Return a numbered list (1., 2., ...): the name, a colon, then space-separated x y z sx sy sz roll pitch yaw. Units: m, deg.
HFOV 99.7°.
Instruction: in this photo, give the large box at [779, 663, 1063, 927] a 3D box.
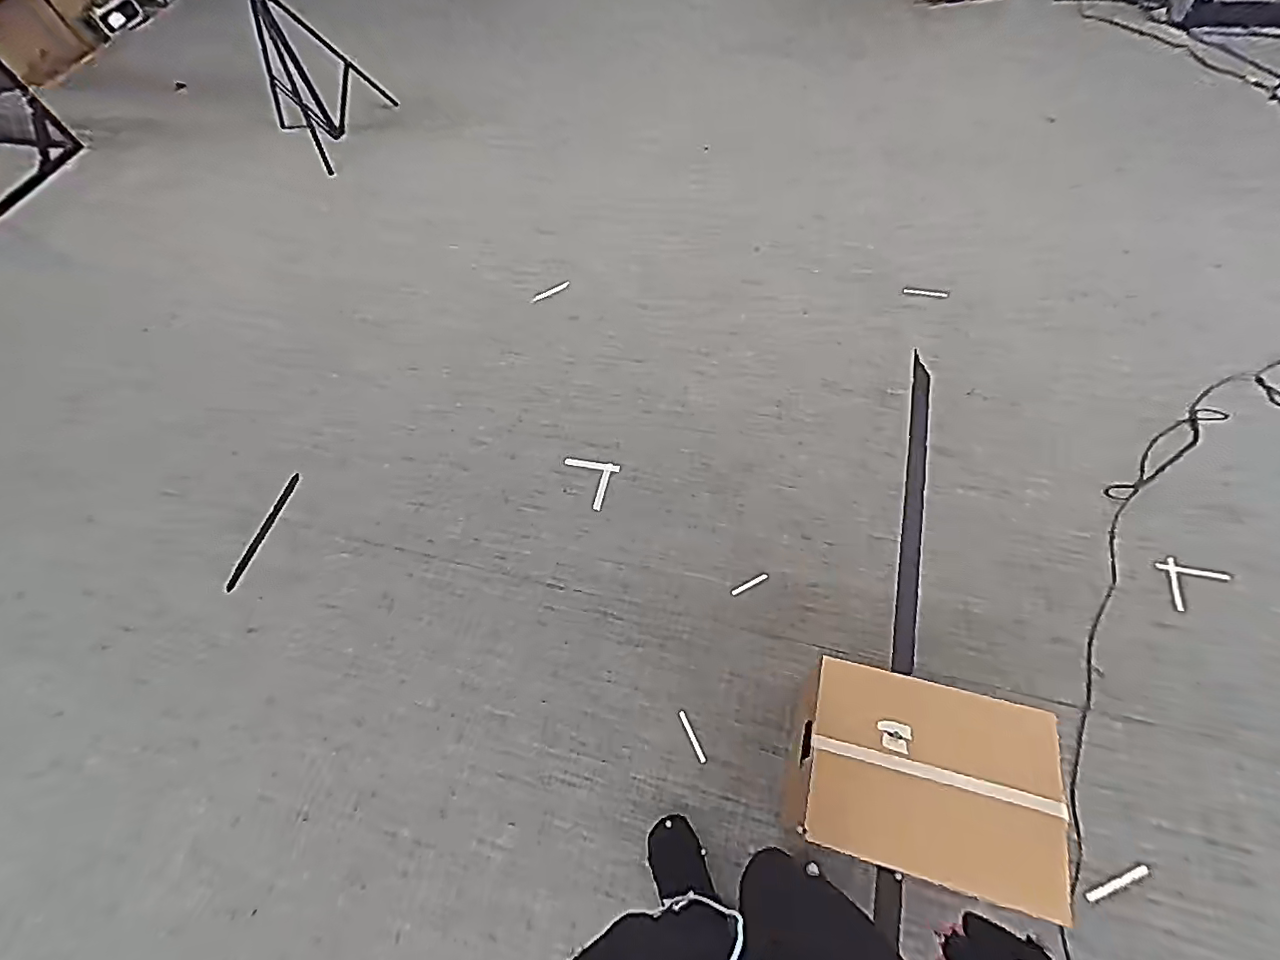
1. large box: 0.509 0.586 1.056 0.408 0.320 0.320 11 62 14
